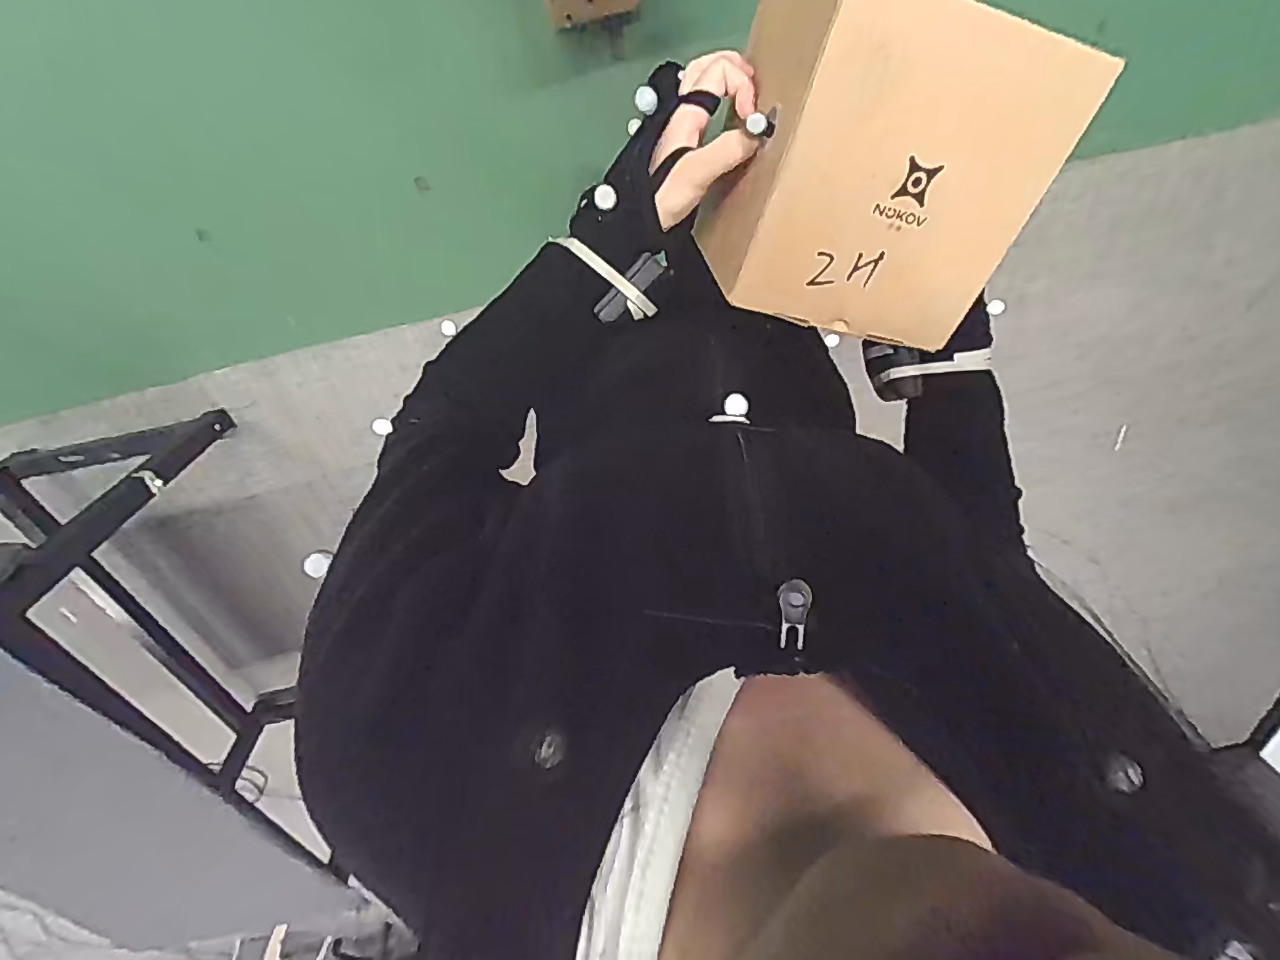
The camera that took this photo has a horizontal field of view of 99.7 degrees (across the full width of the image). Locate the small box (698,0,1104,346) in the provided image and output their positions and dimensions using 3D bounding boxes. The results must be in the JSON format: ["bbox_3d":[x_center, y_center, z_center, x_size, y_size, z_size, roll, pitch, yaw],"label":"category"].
[{"bbox_3d":[0.149,-0.224,0.388,0.168,0.176,0.179,8,128,-11],"label":"small box"}]

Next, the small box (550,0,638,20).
[{"bbox_3d":[-0.077,-0.833,0.811,0.168,0.176,0.179,-13,123,2],"label":"small box"}]
